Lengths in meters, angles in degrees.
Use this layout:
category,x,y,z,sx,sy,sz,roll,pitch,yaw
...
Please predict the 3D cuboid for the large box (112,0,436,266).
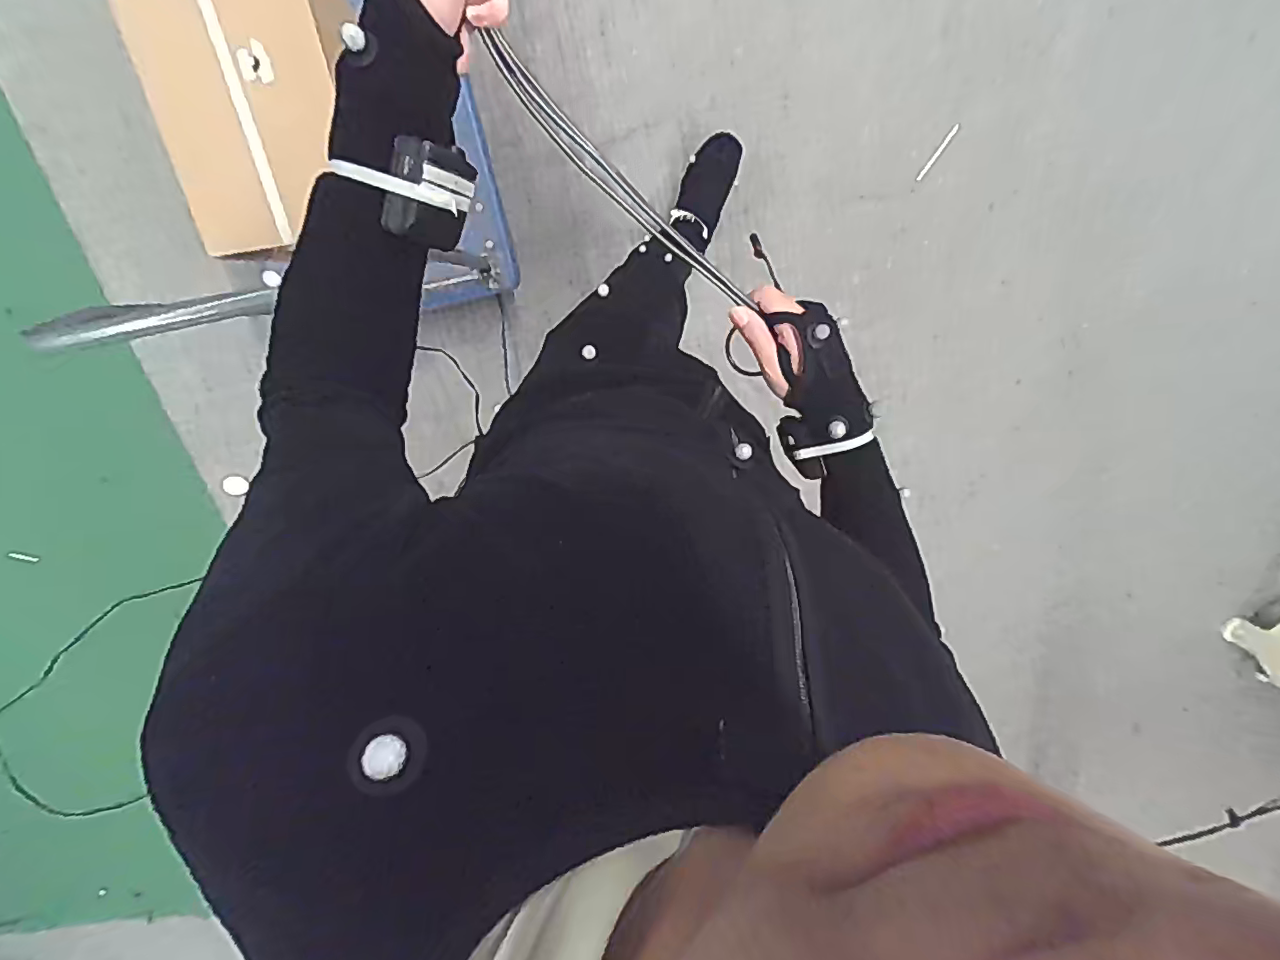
category,x,y,z,sx,sy,sz,roll,pitch,yaw
large box,-0.643,-0.651,1.036,0.320,0.320,0.408,-9,110,2
